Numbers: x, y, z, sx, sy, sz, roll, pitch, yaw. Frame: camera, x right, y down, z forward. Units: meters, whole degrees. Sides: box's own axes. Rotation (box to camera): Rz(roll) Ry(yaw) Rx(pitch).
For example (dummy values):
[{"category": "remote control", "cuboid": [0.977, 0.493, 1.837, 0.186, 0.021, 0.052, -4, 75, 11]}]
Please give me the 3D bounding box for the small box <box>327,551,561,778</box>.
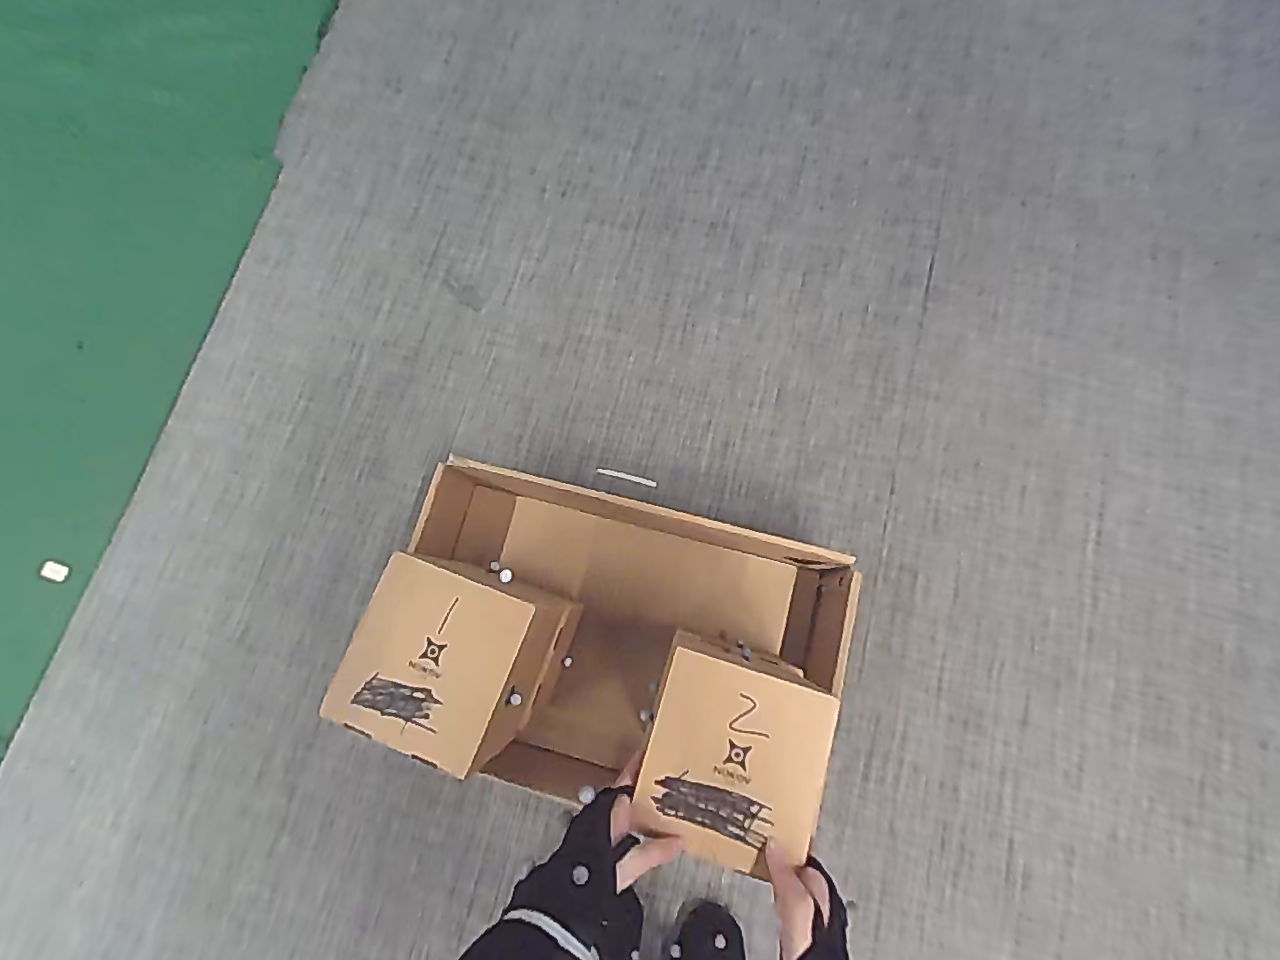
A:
[{"category": "small box", "cuboid": [-0.204, 0.199, 0.622, 0.168, 0.176, 0.179, 20, 78, 7]}]
